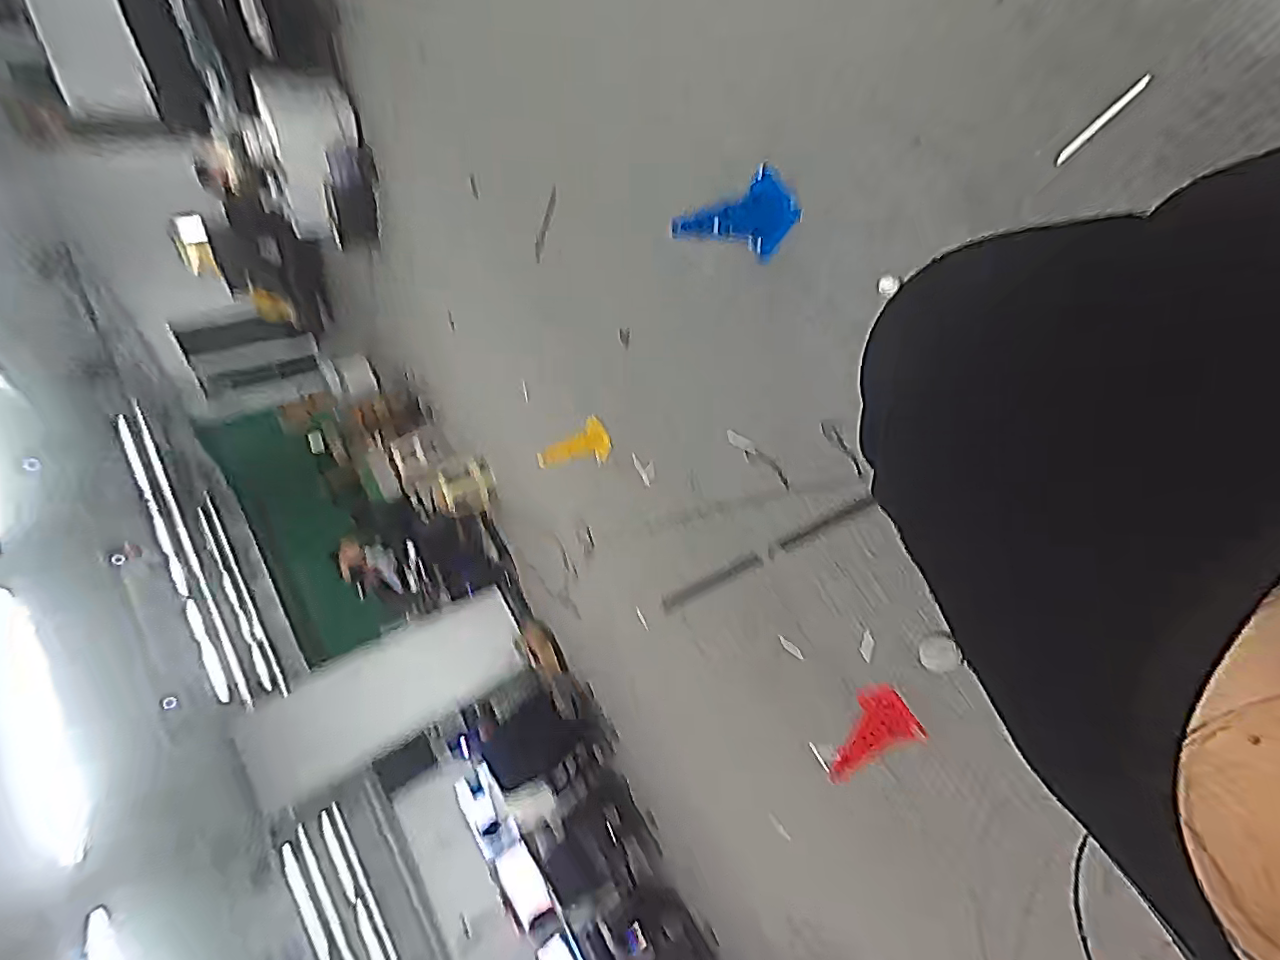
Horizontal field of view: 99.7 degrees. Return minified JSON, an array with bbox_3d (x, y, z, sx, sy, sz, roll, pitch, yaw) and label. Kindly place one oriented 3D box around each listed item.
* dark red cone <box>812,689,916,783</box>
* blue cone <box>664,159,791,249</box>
[{"bbox_3d":[0.727,0.899,1.841,0.201,0.394,0.202,56,148,18],"label":"dark red cone"},{"bbox_3d":[0.227,-0.758,1.522,0.192,0.380,0.193,61,149,11],"label":"blue cone"}]
